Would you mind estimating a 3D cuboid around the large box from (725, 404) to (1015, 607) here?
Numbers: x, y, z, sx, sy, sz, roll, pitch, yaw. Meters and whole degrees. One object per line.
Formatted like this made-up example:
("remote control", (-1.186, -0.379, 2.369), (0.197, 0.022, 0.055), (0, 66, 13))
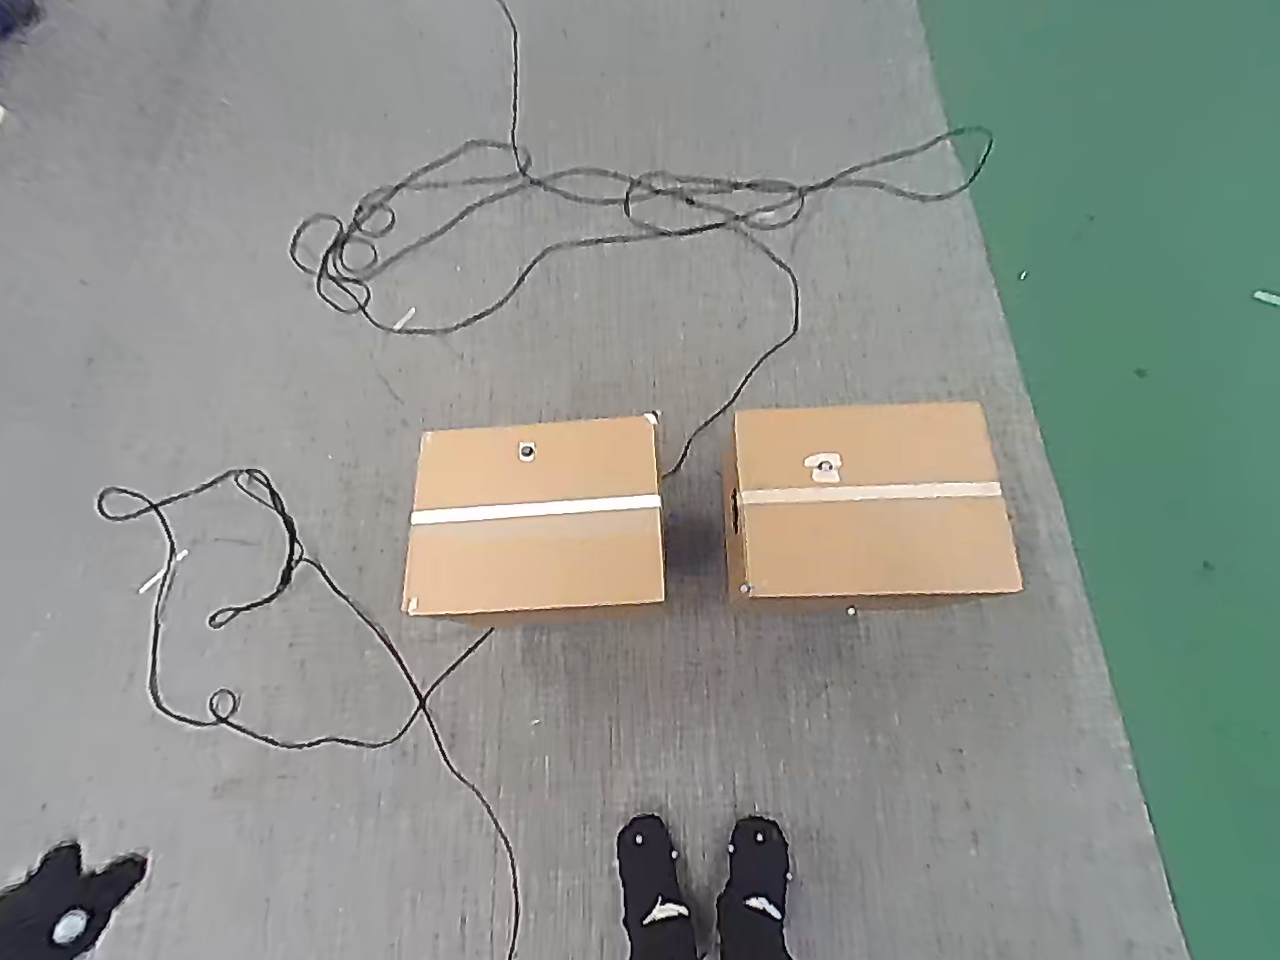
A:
("large box", (0.380, 0.069, 1.013), (0.408, 0.320, 0.320), (-2, 72, 4))
